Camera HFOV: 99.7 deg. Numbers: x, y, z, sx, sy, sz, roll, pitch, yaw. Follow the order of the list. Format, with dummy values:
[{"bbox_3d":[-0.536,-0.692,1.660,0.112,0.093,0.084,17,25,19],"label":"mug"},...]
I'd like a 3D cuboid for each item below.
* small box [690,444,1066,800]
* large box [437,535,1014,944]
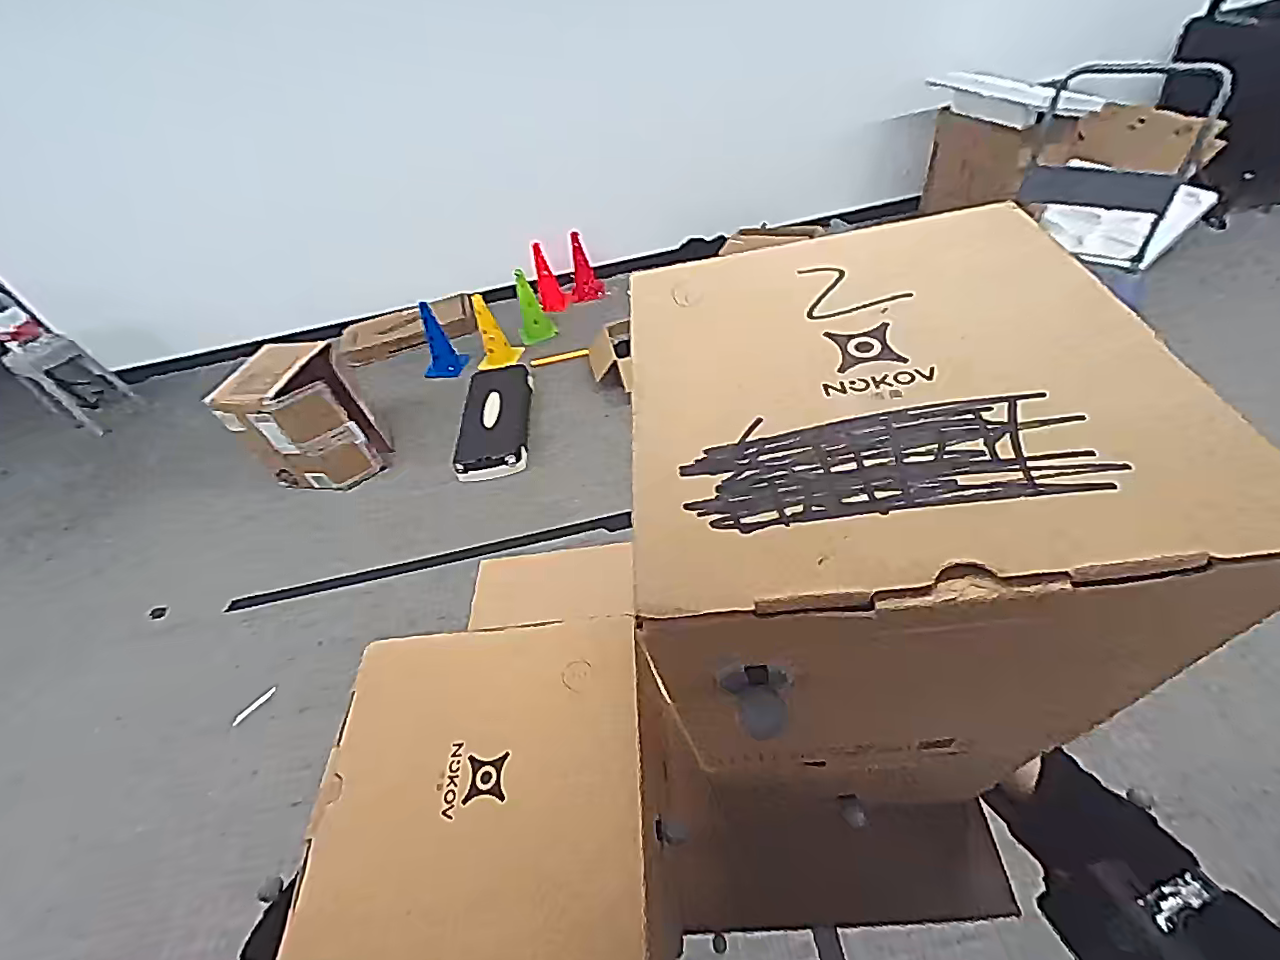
[{"bbox_3d":[0.129,0.103,0.371,0.168,0.176,0.179,-9,51,8],"label":"small box"},{"bbox_3d":[0.068,0.269,0.572,0.408,0.320,0.320,-9,49,7],"label":"large box"}]
